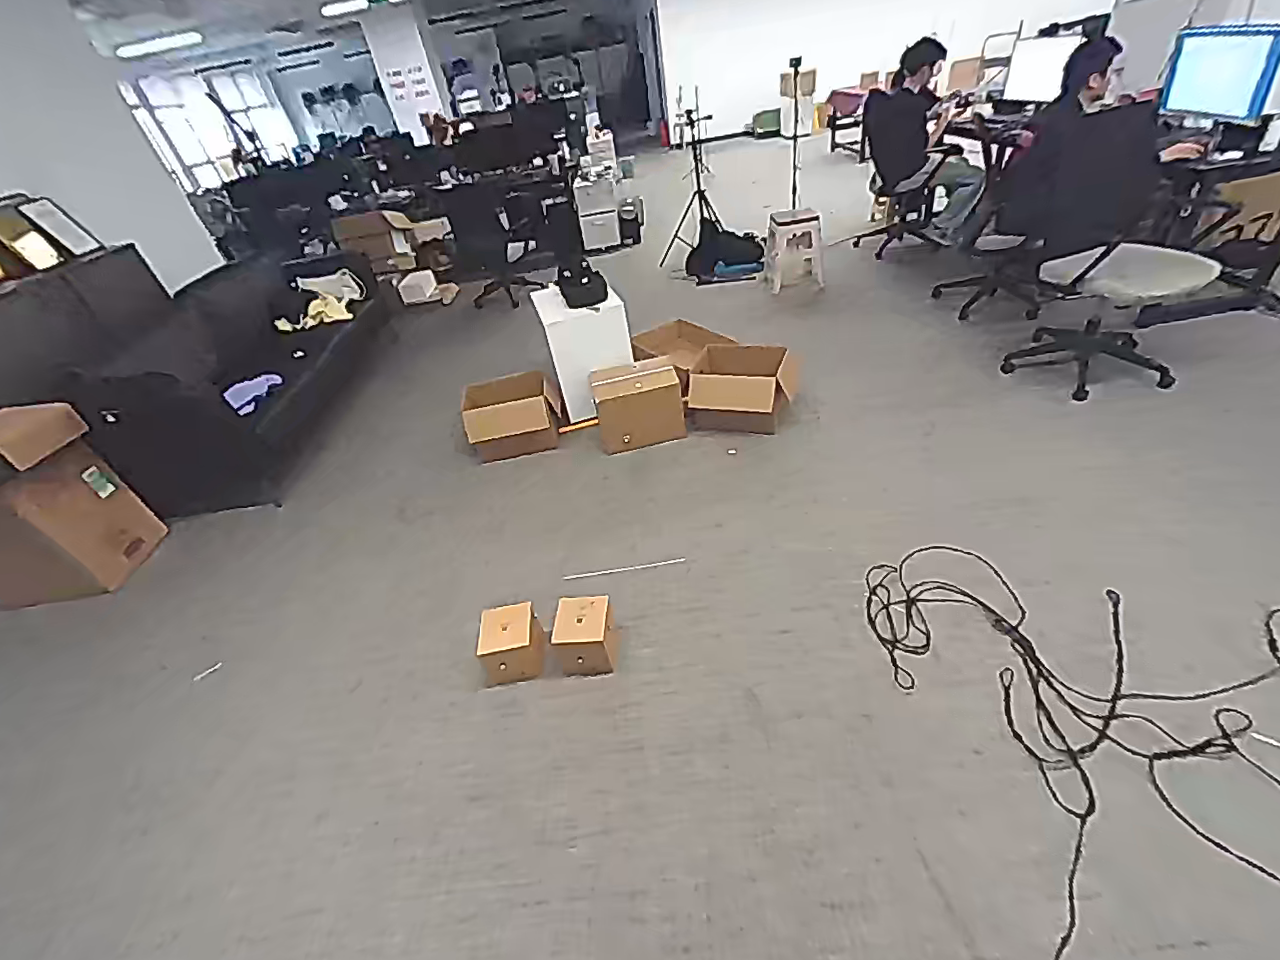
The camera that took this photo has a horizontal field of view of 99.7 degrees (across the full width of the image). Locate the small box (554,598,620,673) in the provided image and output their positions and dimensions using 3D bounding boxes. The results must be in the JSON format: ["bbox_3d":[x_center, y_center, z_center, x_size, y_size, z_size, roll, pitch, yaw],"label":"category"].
[{"bbox_3d":[-0.163,0.504,1.737,0.168,0.176,0.179,-5,38,8],"label":"small box"}]

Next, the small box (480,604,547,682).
[{"bbox_3d":[-0.405,0.538,1.762,0.168,0.176,0.179,-12,37,0],"label":"small box"}]
